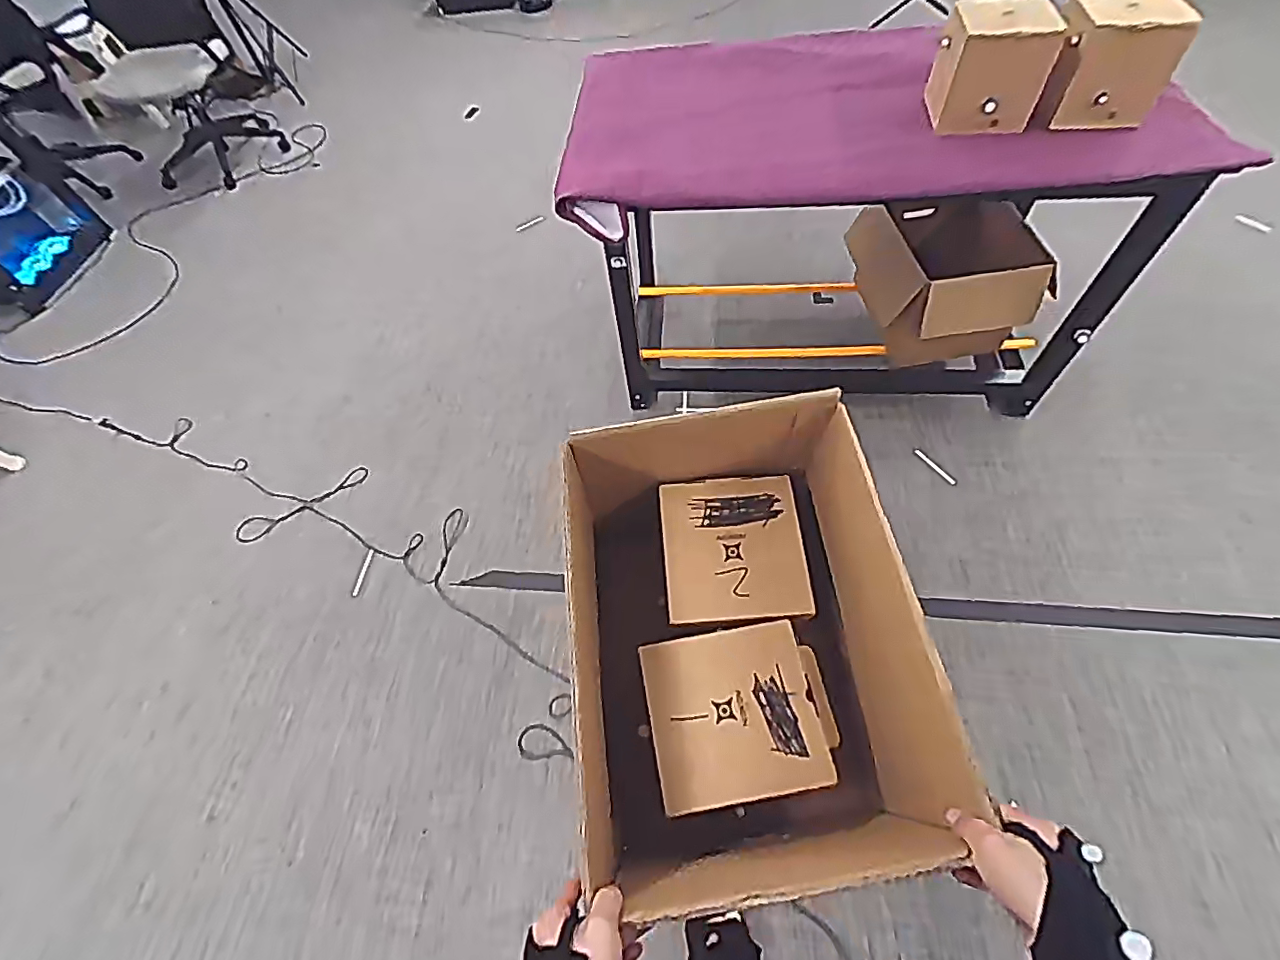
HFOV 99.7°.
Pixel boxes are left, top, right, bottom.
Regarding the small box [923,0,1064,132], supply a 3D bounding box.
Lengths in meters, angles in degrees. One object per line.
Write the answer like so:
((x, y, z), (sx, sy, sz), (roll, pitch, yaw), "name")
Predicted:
((0.676, -0.814, 1.061), (0.168, 0.176, 0.179), (4, 58, 9), "small box")

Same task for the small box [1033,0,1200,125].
((0.885, -0.810, 1.034), (0.168, 0.176, 0.179), (4, 58, 10), "small box")
